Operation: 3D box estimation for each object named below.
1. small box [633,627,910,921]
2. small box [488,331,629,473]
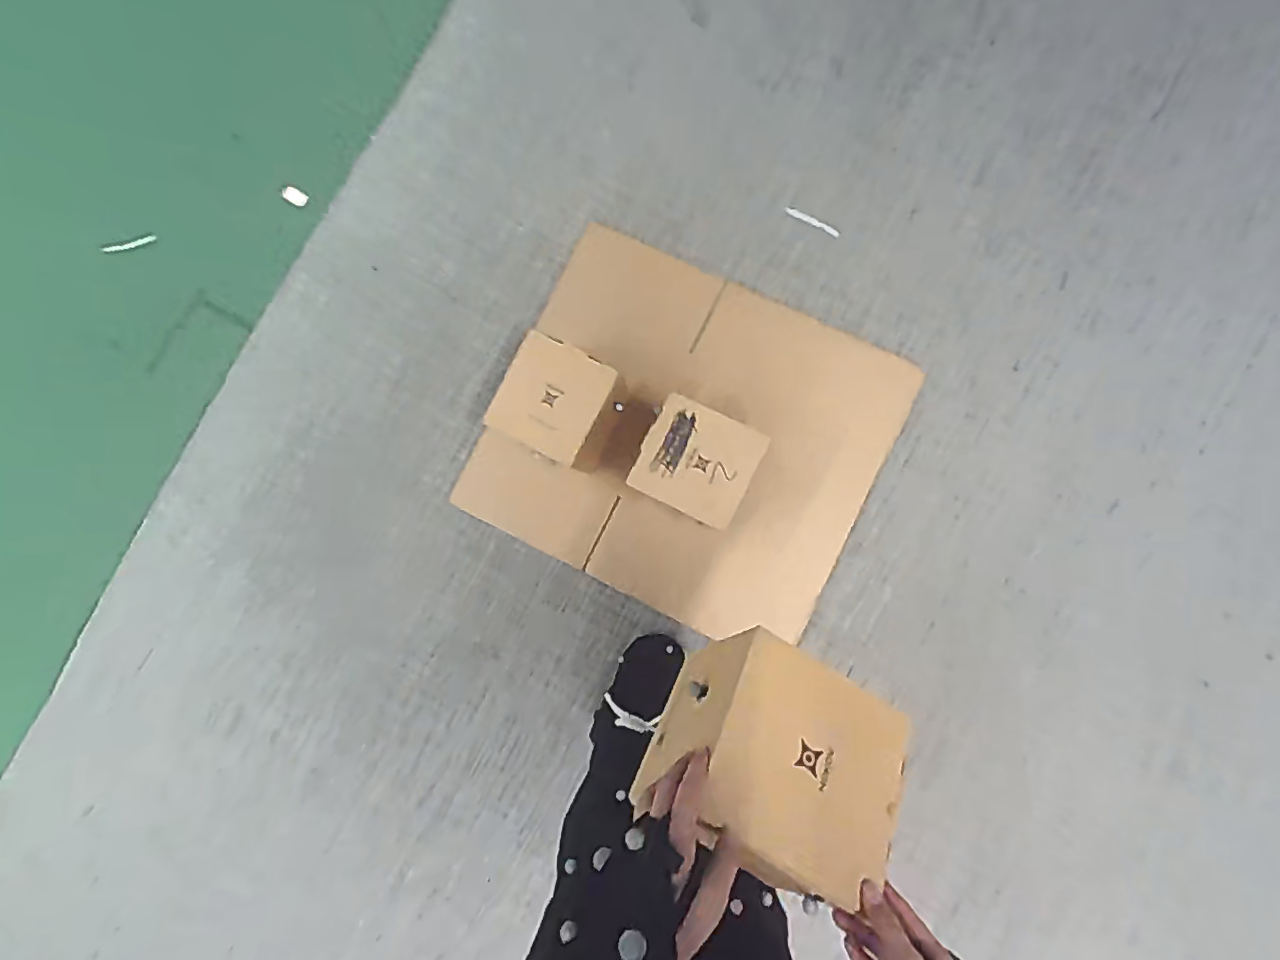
[{"bbox_3d":[0.116,0.269,0.517,0.179,0.176,0.168,32,58,-4],"label":"small box"},{"bbox_3d":[-0.130,-0.126,0.944,0.168,0.176,0.179,27,90,7],"label":"small box"}]
